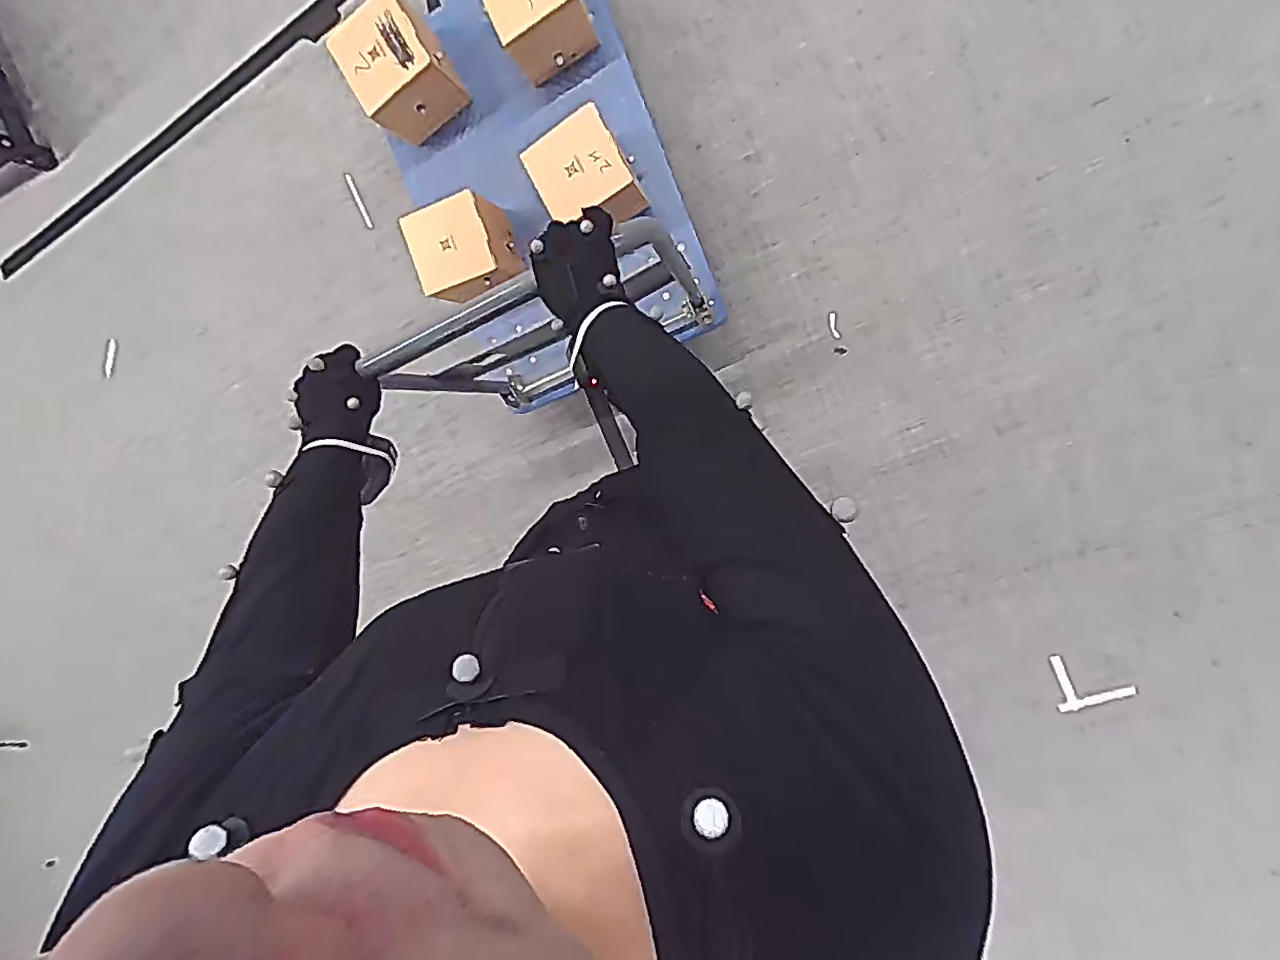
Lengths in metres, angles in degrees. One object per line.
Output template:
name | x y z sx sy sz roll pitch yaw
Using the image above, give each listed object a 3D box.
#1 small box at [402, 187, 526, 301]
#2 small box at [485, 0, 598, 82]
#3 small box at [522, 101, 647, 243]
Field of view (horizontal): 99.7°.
small box | -0.381 -0.511 1.200 0.179 0.176 0.168 -15 98 13
small box | -0.204 -0.946 1.066 0.168 0.176 0.179 -23 98 16
small box | -0.106 -0.619 1.117 0.179 0.176 0.168 -26 96 16
